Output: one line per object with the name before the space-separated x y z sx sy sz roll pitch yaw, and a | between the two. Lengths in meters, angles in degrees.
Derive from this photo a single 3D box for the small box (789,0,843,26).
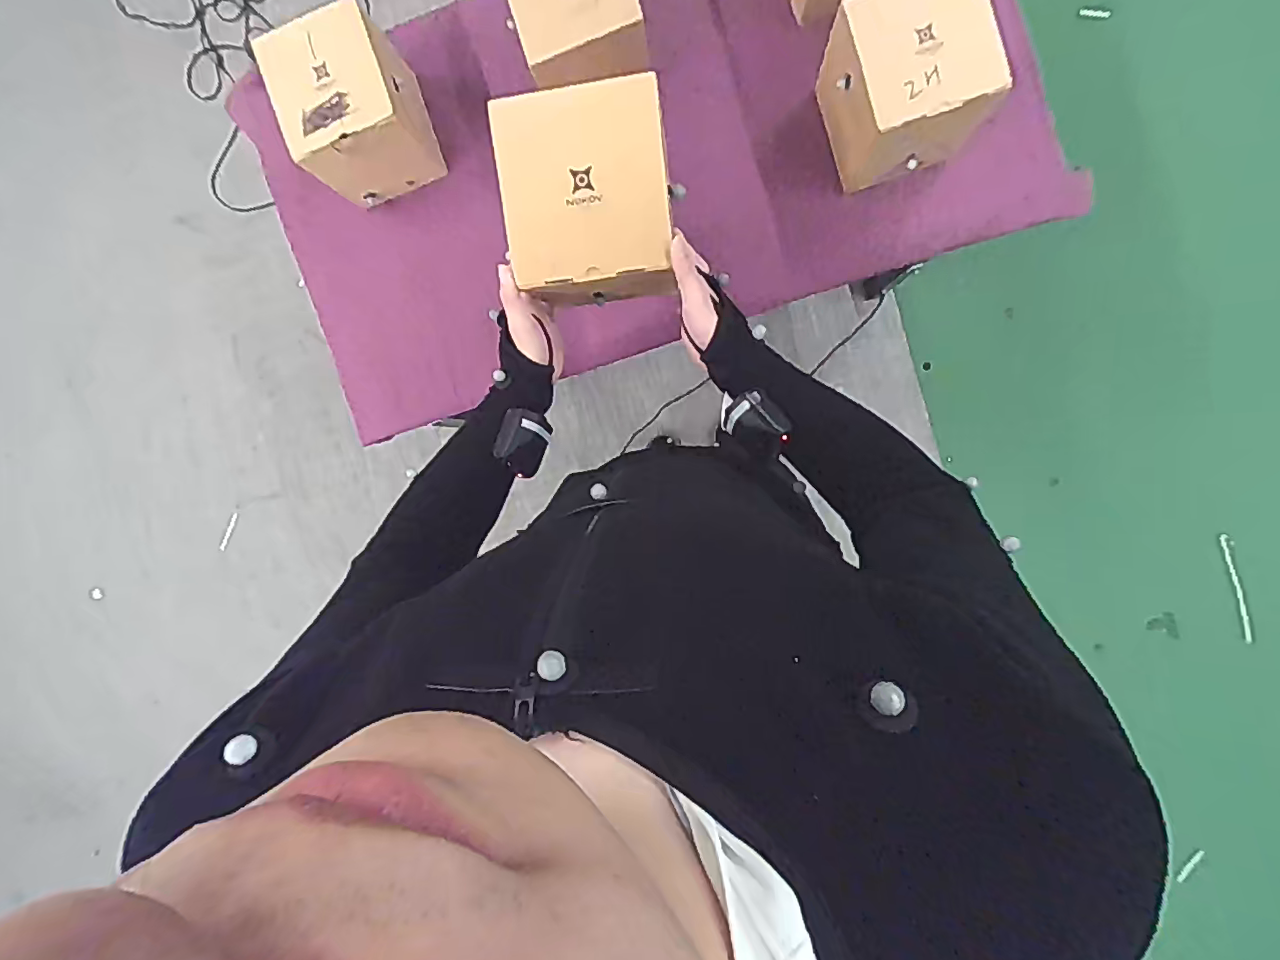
small box | 0.287 -0.796 0.745 0.168 0.176 0.179 -17 92 7

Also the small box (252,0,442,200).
small box | -0.433 -0.561 0.829 0.168 0.176 0.179 -18 91 6

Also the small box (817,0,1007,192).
small box | 0.360 -0.545 0.752 0.168 0.176 0.179 -16 91 7

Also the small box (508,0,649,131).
small box | -0.091 -0.665 0.792 0.168 0.176 0.179 -17 93 7
